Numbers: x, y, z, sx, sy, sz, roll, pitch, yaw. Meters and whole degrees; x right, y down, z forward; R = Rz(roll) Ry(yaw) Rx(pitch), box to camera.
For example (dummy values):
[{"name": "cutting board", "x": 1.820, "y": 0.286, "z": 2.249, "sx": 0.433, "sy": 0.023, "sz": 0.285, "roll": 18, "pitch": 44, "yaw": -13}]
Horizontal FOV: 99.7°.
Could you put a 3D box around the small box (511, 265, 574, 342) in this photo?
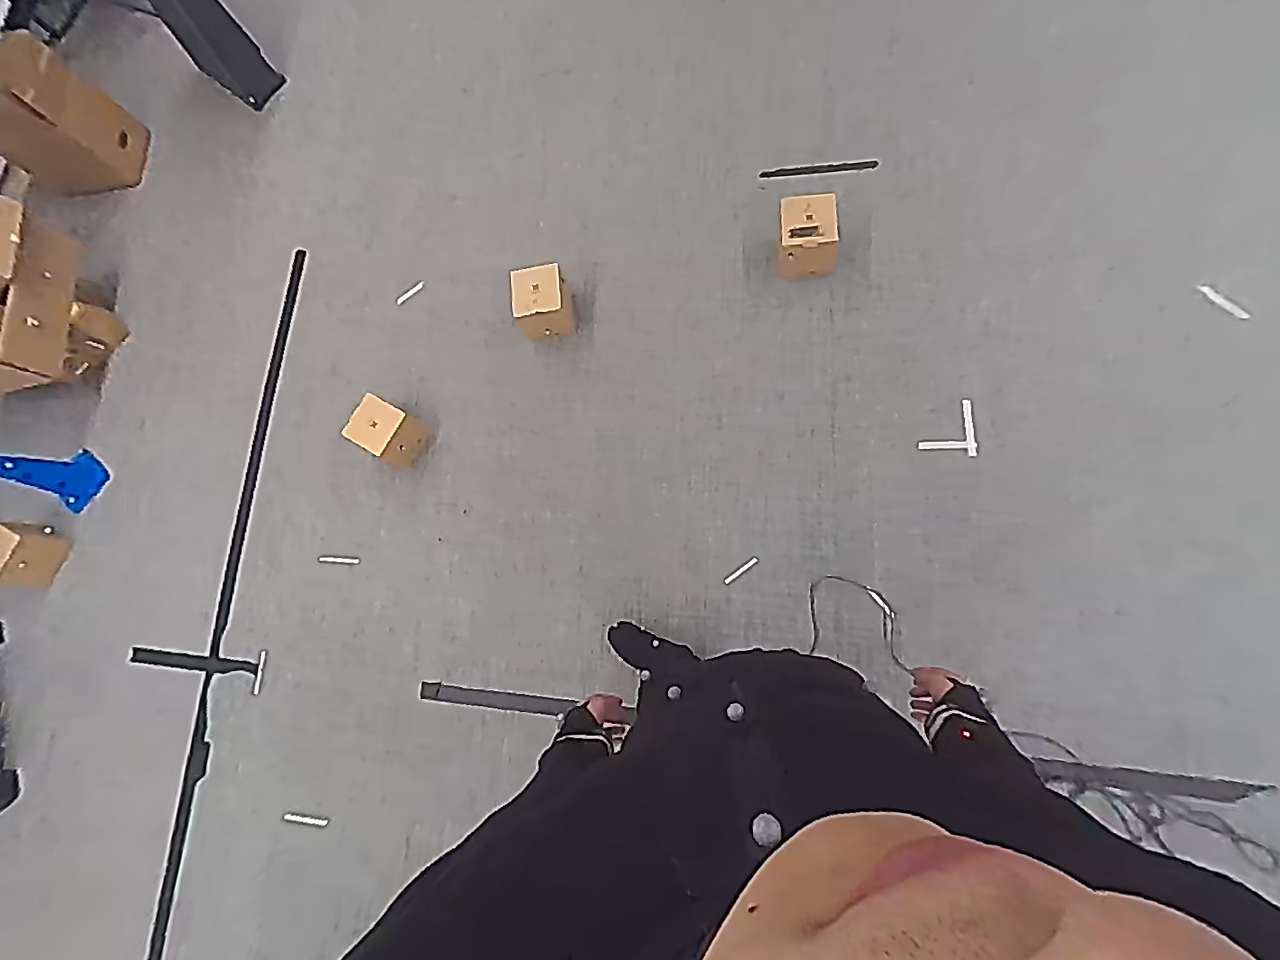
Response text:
[{"name": "small box", "x": -0.330, "y": -0.597, "z": 1.847, "sx": 0.168, "sy": 0.176, "sz": 0.179, "roll": -8, "pitch": 77, "yaw": 8}]

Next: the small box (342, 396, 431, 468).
[{"name": "small box", "x": -0.853, "y": -0.156, "z": 1.839, "sx": 0.179, "sy": 0.176, "sz": 0.168, "roll": 28, "pitch": 83, "yaw": 15}]
